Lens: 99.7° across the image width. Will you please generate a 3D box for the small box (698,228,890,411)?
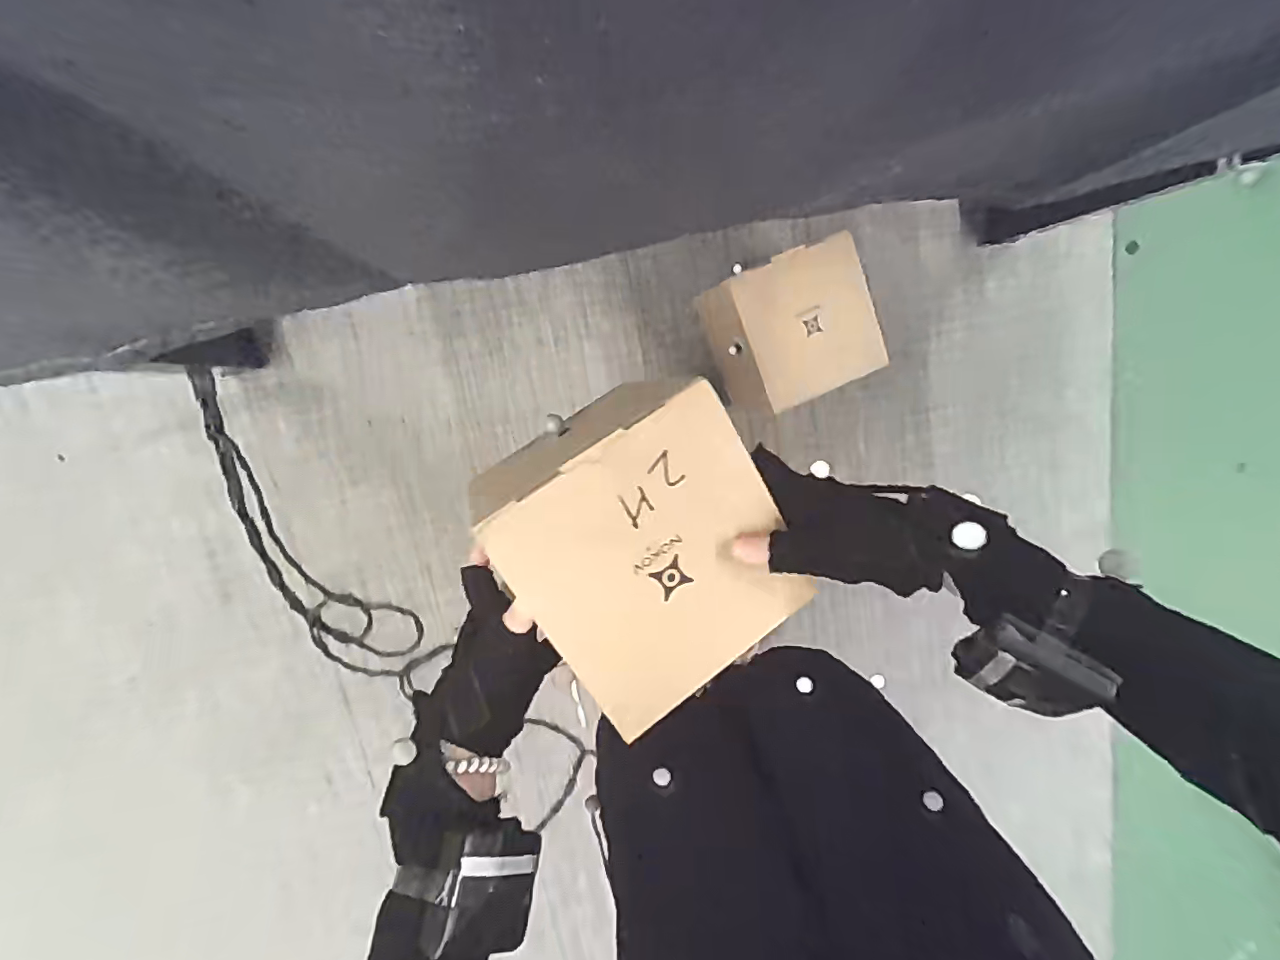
[{"bbox_3d":[0.195,-0.203,0.729,0.168,0.176,0.179,-24,103,-4],"label":"small box"}]
